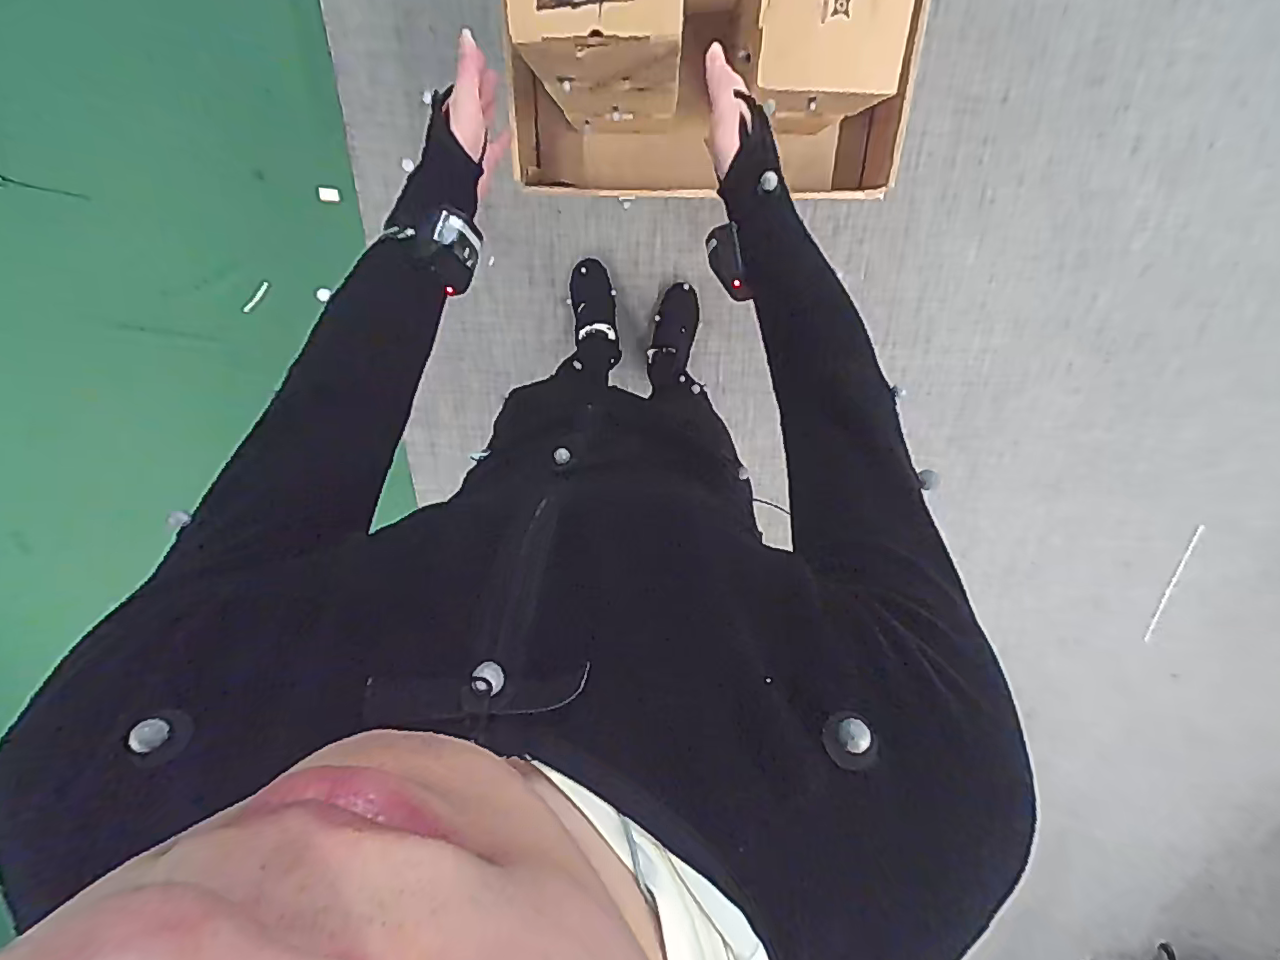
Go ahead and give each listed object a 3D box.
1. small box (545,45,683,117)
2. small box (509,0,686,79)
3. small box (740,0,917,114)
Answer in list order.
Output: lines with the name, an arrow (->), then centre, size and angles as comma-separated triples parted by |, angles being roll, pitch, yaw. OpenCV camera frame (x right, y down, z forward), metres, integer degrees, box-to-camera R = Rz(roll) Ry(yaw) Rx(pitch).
small box -> -0.029, -0.586, 0.691 | 0.168, 0.176, 0.179 | 2, 115, 1
small box -> -0.036, -0.522, 0.539 | 0.168, 0.176, 0.179 | 0, 114, 1
small box -> 0.232, -0.580, 0.691 | 0.179, 0.176, 0.168 | 2, 117, -1
